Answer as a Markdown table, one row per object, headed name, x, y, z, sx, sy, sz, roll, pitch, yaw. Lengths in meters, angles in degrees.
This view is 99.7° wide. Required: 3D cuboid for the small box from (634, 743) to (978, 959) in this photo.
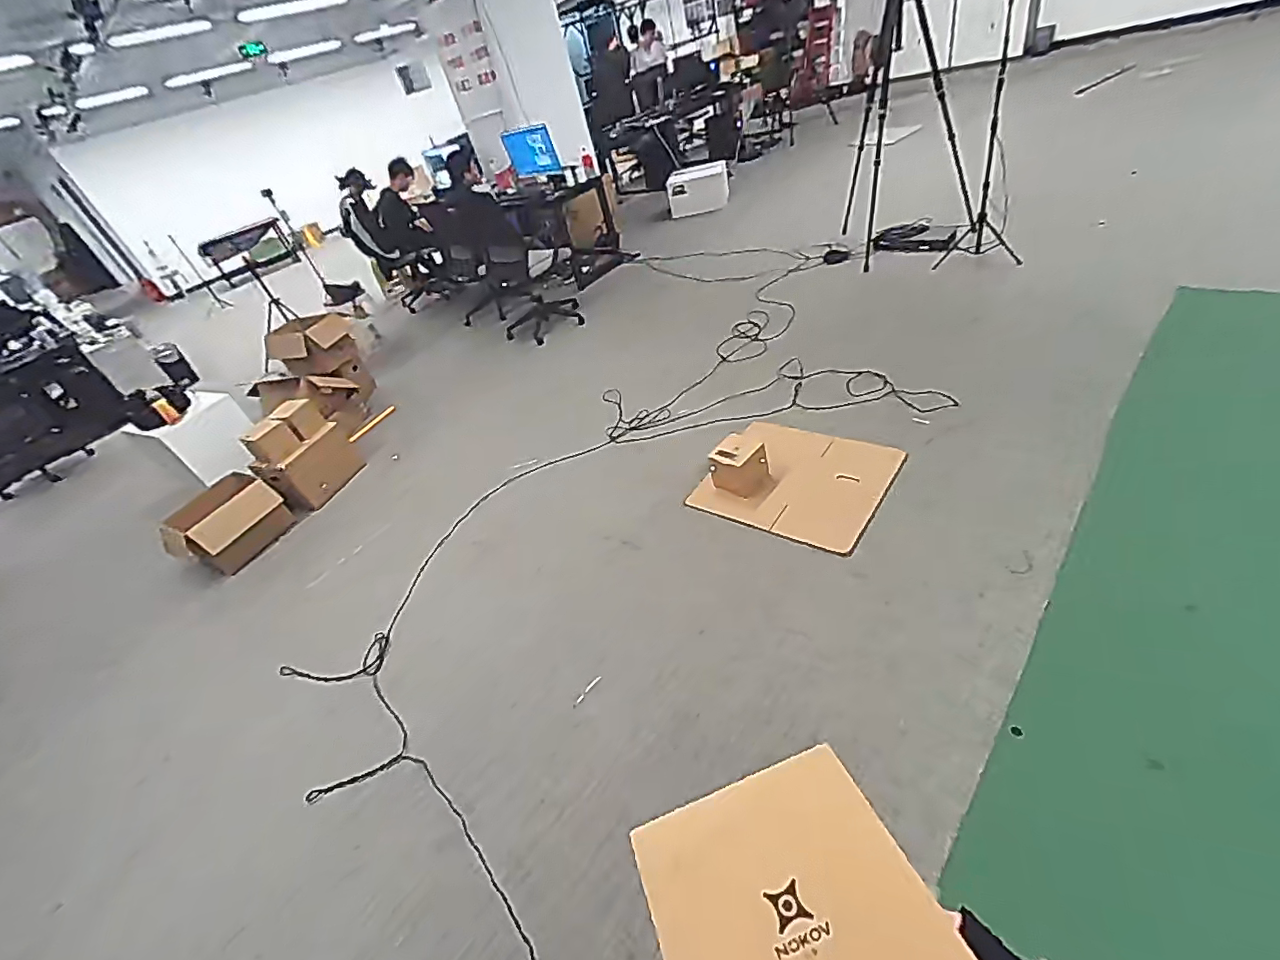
| name | x | y | z | sx | sy | sz | roll | pitch | yaw |
| --- | --- | --- | --- | --- | --- | --- | --- | --- | --- |
| small box | 0.109 | 0.331 | 0.371 | 0.168 | 0.176 | 0.179 | -19 | 31 | -9 |
